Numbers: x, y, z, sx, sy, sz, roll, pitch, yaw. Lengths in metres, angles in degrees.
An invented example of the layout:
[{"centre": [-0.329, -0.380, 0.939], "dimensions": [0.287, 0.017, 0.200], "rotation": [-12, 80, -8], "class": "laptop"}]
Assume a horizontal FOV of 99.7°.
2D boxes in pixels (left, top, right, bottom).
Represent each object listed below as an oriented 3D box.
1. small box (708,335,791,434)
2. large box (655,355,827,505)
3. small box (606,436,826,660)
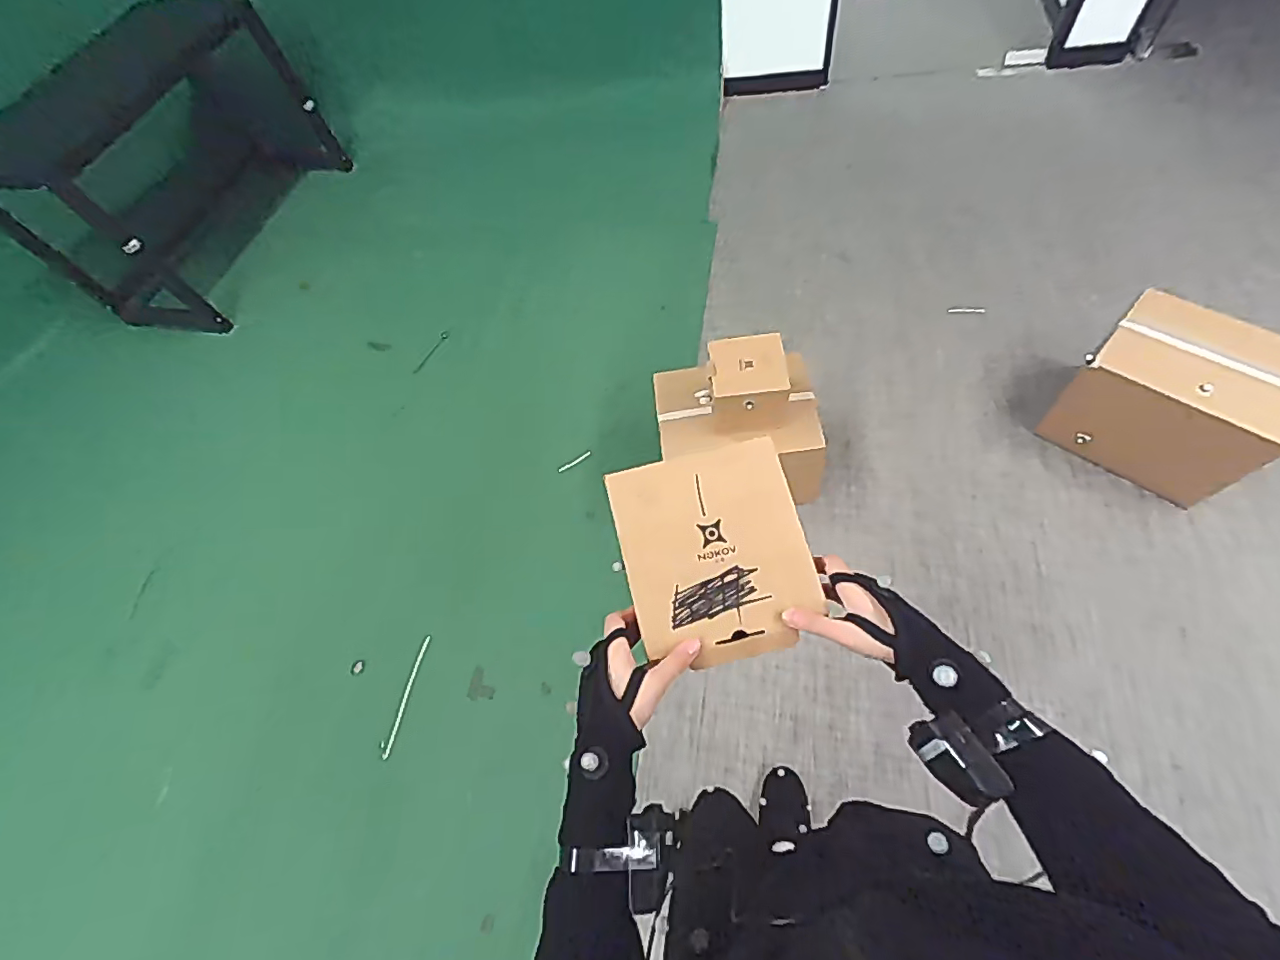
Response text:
[{"centre": [0.262, -0.225, 1.314], "dimensions": [0.179, 0.176, 0.168], "rotation": [-5, 63, 7], "class": "small box"}, {"centre": [0.275, -0.104, 1.530], "dimensions": [0.408, 0.320, 0.320], "rotation": [-9, 59, 7], "class": "large box"}, {"centre": [0.069, 0.077, 0.566], "dimensions": [0.168, 0.176, 0.179], "rotation": [-14, 74, -2], "class": "small box"}]
